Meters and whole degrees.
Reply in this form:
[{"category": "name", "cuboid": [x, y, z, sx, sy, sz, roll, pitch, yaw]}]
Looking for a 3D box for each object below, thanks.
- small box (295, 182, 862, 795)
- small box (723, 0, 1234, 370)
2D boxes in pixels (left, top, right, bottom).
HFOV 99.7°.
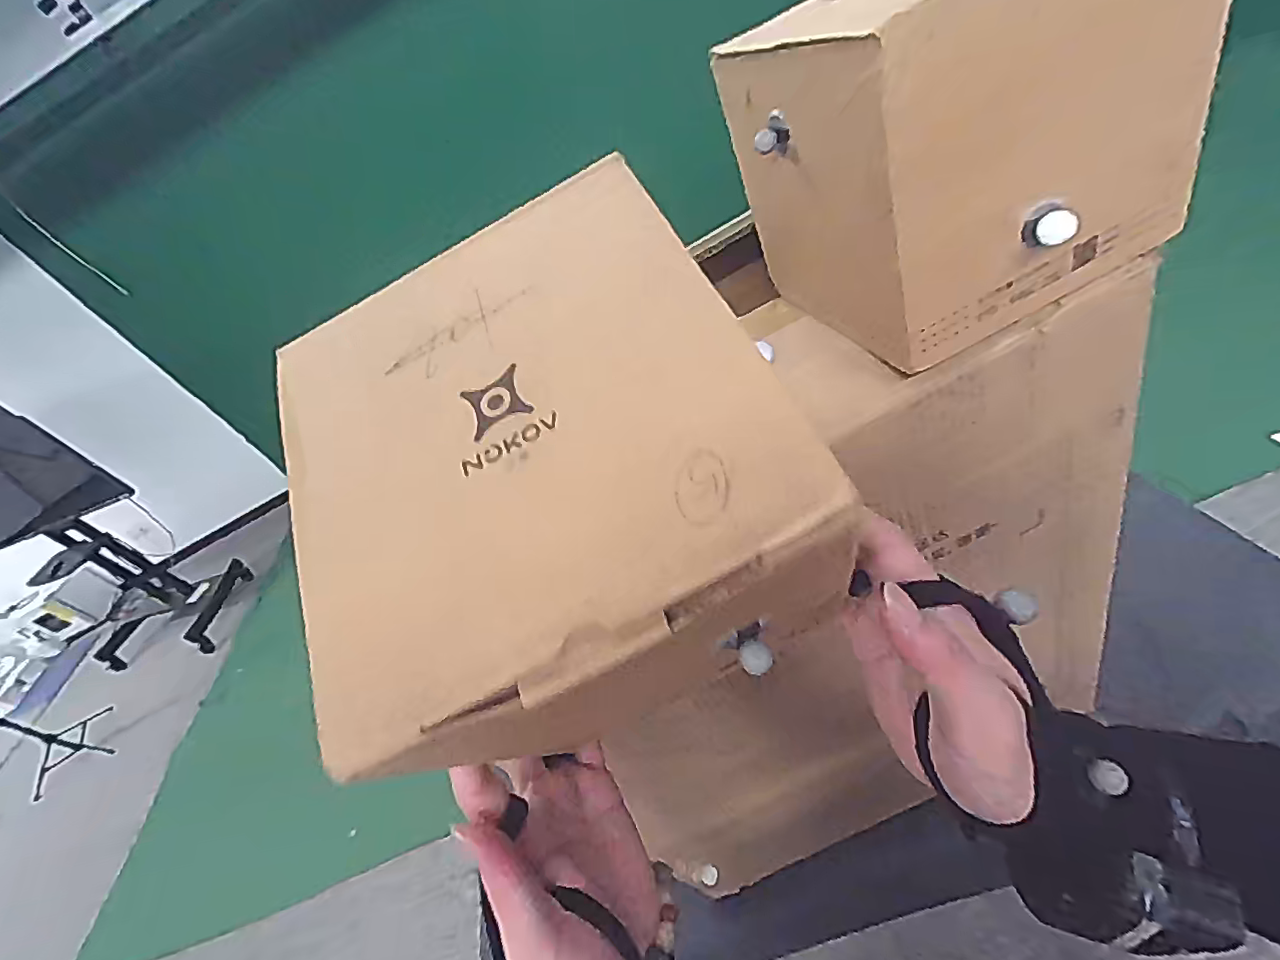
[{"category": "small box", "cuboid": [-0.021, 0.014, 0.257, 0.168, 0.176, 0.179, -28, 62, 3]}, {"category": "small box", "cuboid": [0.173, -0.194, 0.321, 0.168, 0.176, 0.179, -28, 39, 4]}]
